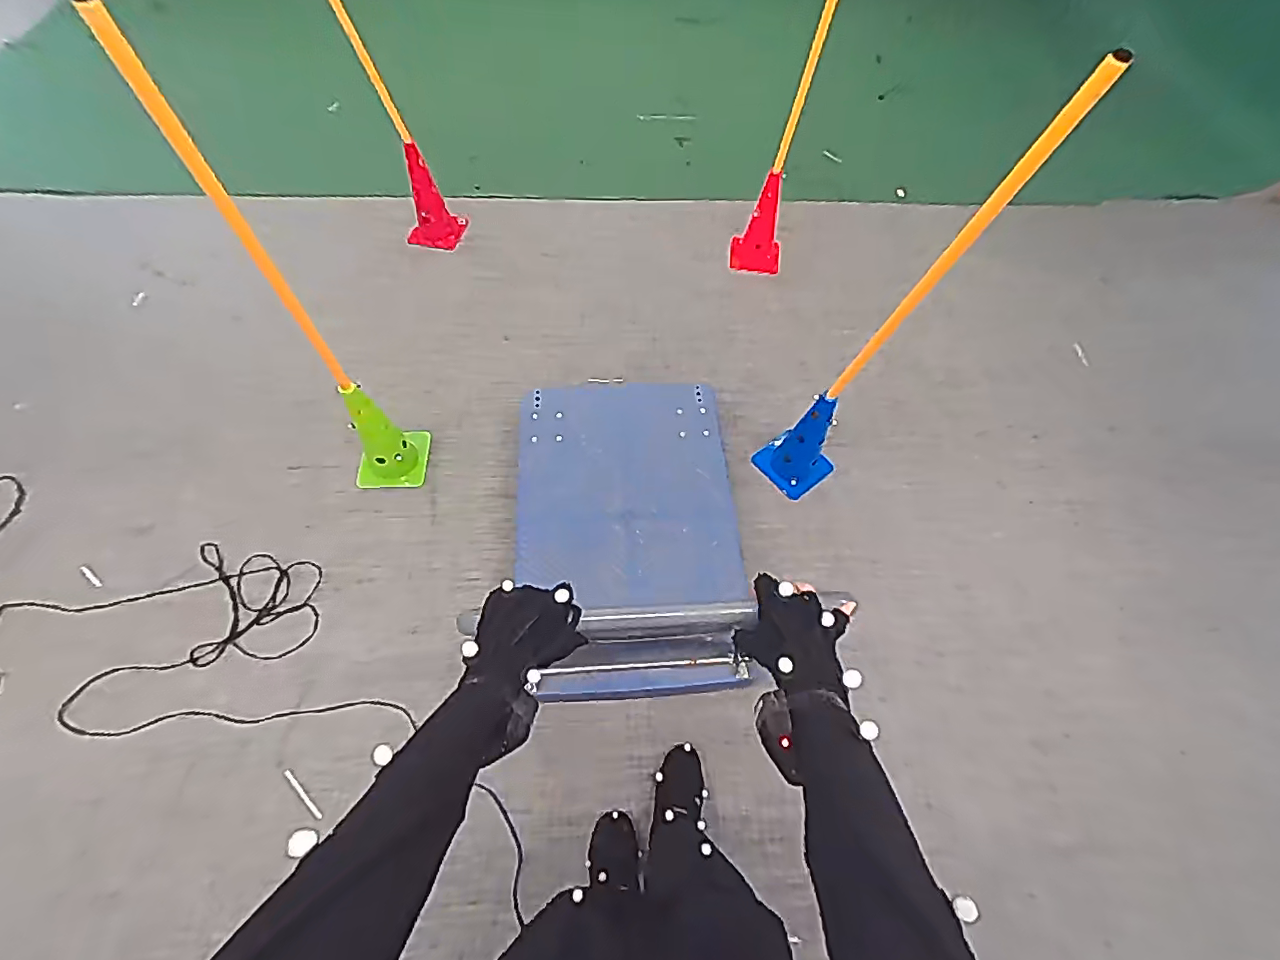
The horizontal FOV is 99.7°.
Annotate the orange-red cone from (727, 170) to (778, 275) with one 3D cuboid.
[{"bbox_3d":[0.463,-0.992,2.049,0.198,0.360,0.199,9,62,3],"label":"orange-red cone"}]
